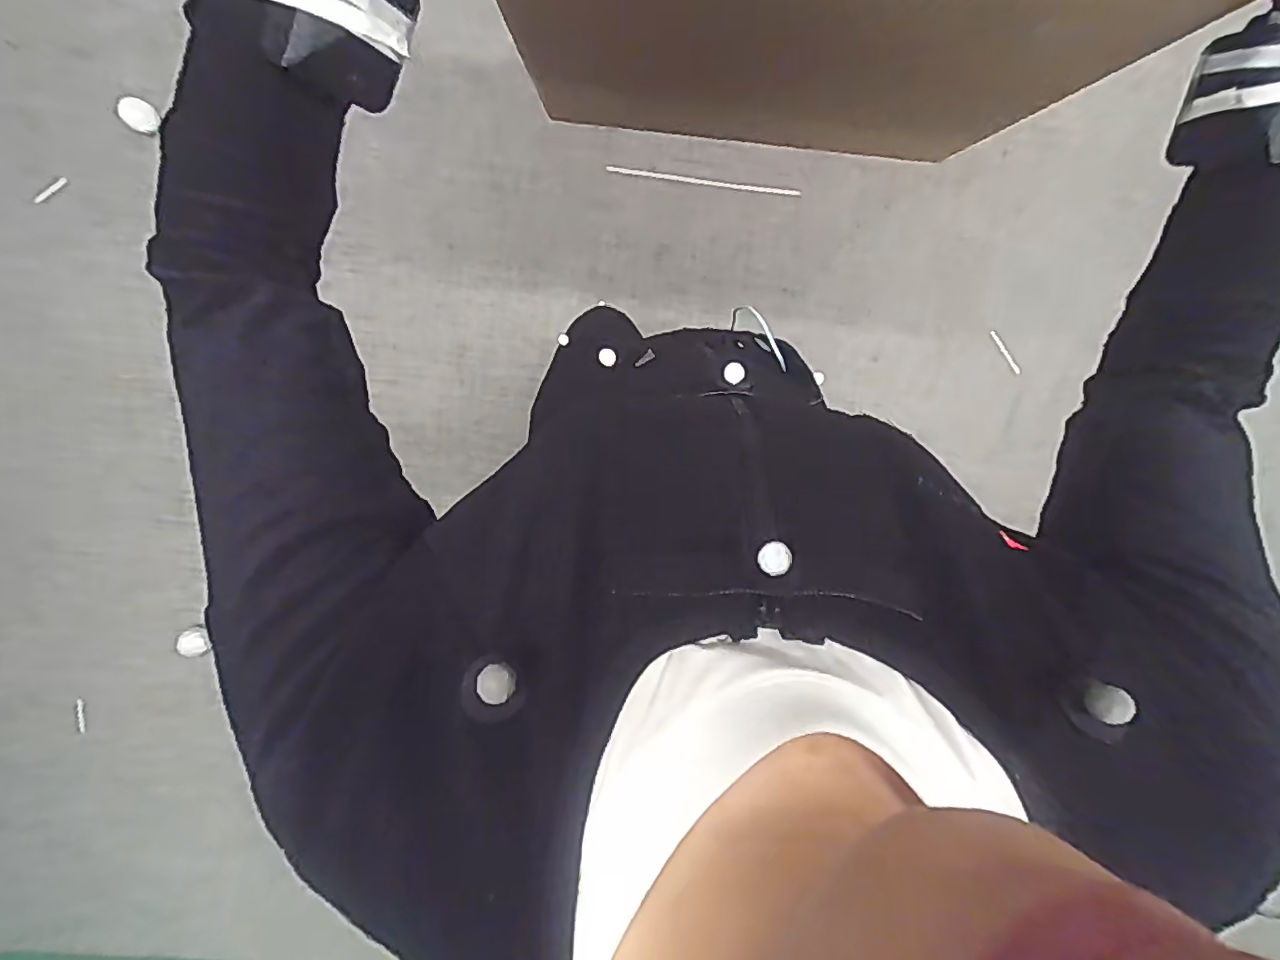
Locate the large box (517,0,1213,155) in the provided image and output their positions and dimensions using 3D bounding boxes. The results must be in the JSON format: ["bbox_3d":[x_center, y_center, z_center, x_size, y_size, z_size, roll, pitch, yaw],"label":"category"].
[{"bbox_3d":[0.125,-0.450,0.368,0.408,0.320,0.320,4,107,-3],"label":"large box"}]
